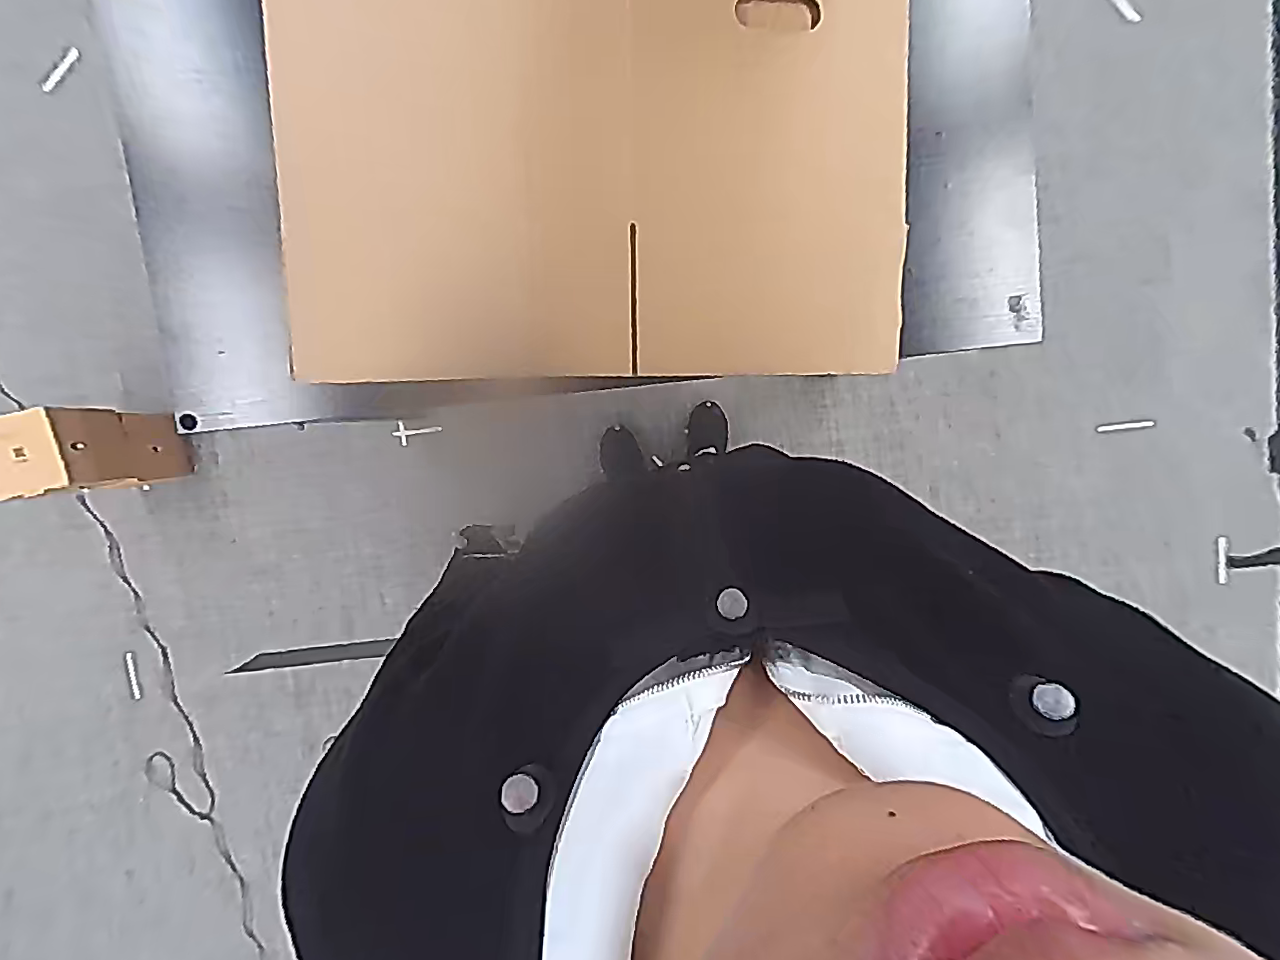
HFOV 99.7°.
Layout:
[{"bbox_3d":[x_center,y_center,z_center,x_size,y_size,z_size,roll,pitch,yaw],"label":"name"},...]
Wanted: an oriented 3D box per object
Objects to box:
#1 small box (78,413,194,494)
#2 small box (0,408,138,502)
[{"bbox_3d":[-1.313,-0.071,1.396,0.168,0.176,0.179,-10,96,0],"label":"small box"},{"bbox_3d":[-1.312,-0.061,1.233,0.168,0.176,0.179,-13,95,0],"label":"small box"}]
